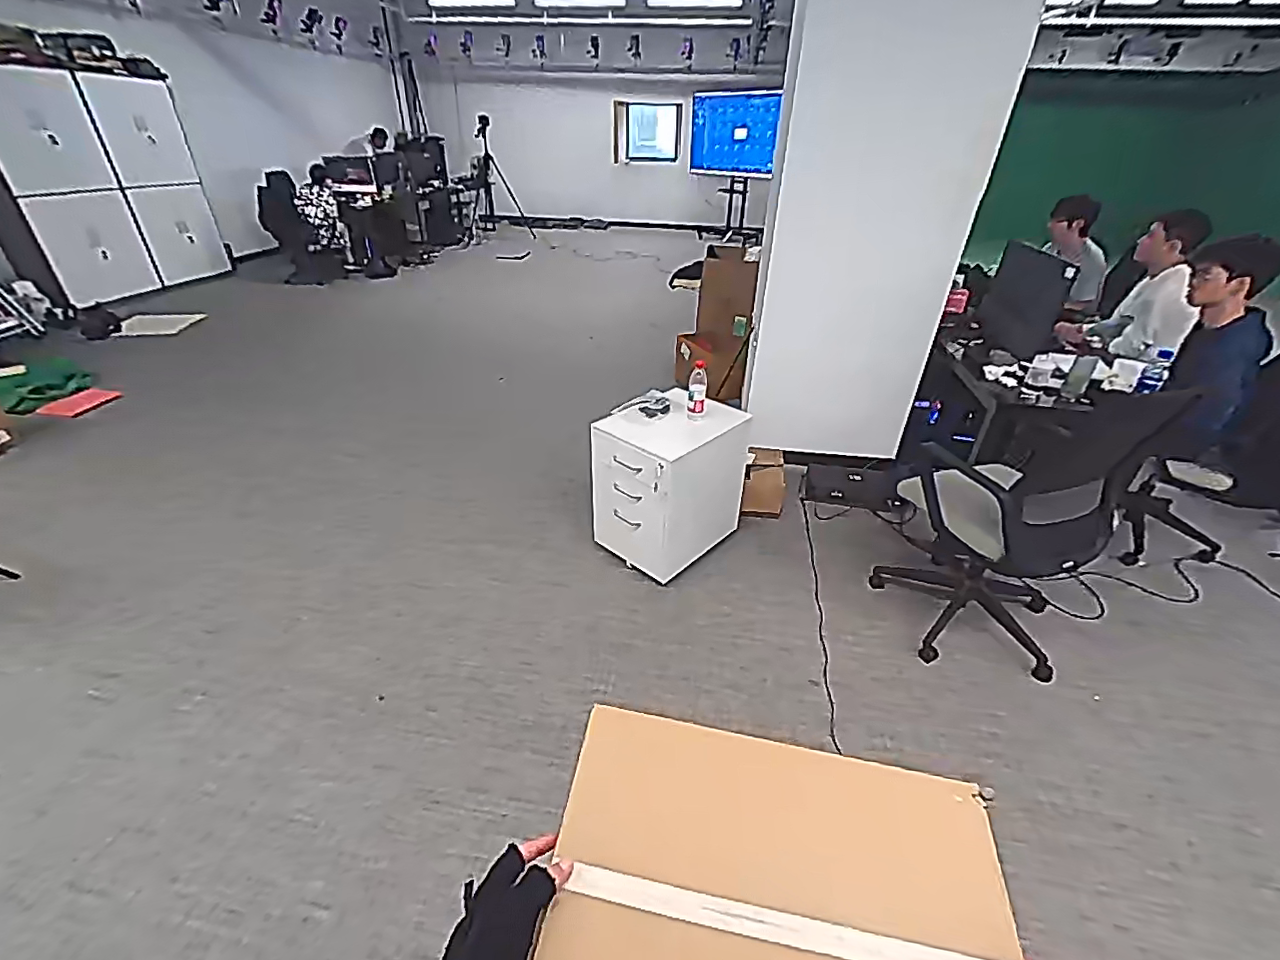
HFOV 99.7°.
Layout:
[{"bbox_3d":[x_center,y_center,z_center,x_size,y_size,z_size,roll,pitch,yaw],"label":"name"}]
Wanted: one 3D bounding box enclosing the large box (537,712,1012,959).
[{"bbox_3d":[0.112,0.497,0.573,0.408,0.320,0.320,10,43,6],"label":"large box"}]
